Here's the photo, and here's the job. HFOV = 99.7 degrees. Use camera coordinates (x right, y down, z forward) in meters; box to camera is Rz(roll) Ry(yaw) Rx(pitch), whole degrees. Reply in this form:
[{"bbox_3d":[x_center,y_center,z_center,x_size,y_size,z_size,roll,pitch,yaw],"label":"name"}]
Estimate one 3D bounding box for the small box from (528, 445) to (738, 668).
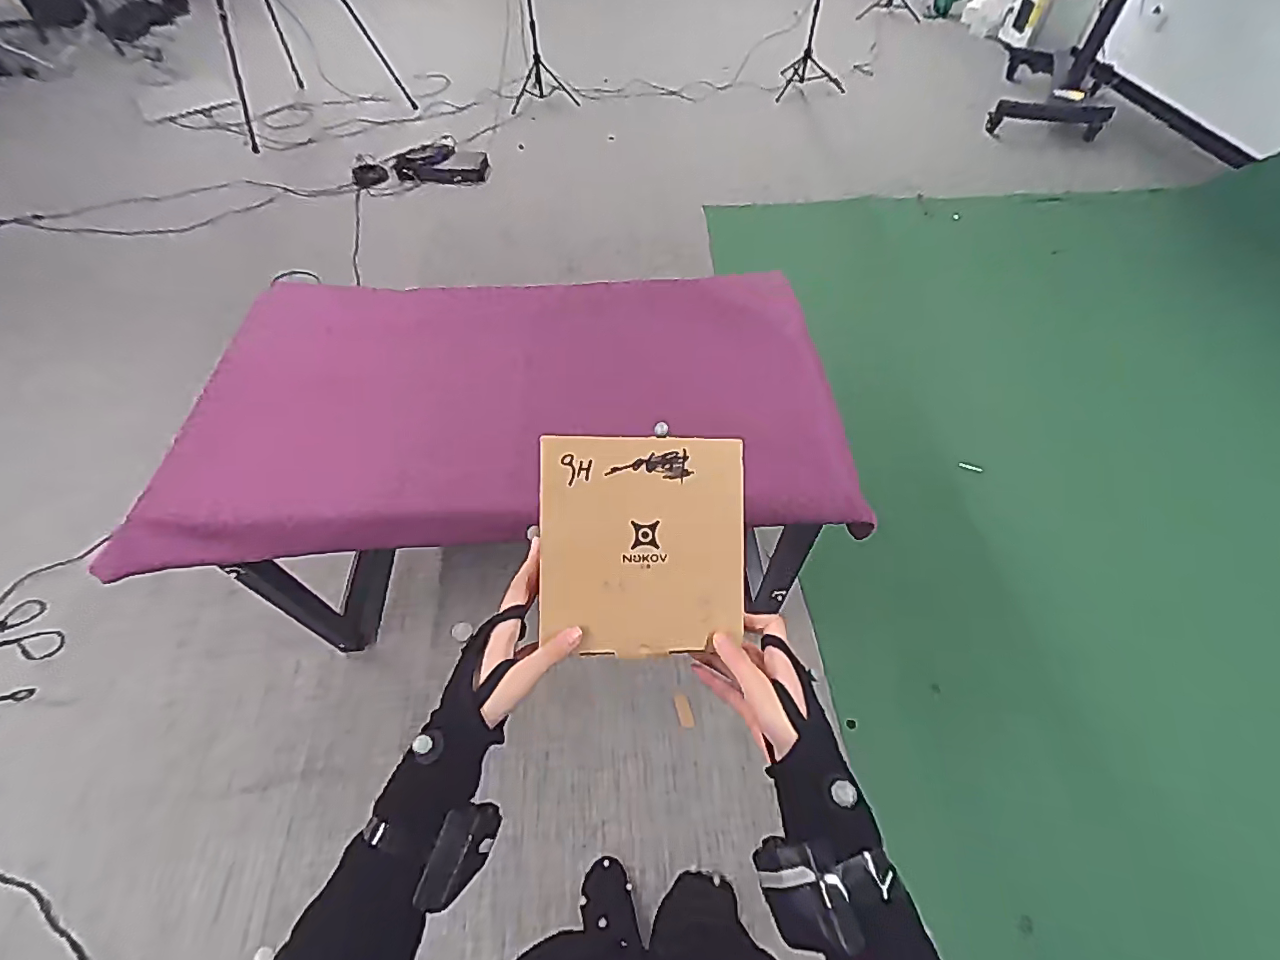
[{"bbox_3d":[-0.013,0.060,0.507,0.168,0.176,0.179,1,90,-8],"label":"small box"}]
